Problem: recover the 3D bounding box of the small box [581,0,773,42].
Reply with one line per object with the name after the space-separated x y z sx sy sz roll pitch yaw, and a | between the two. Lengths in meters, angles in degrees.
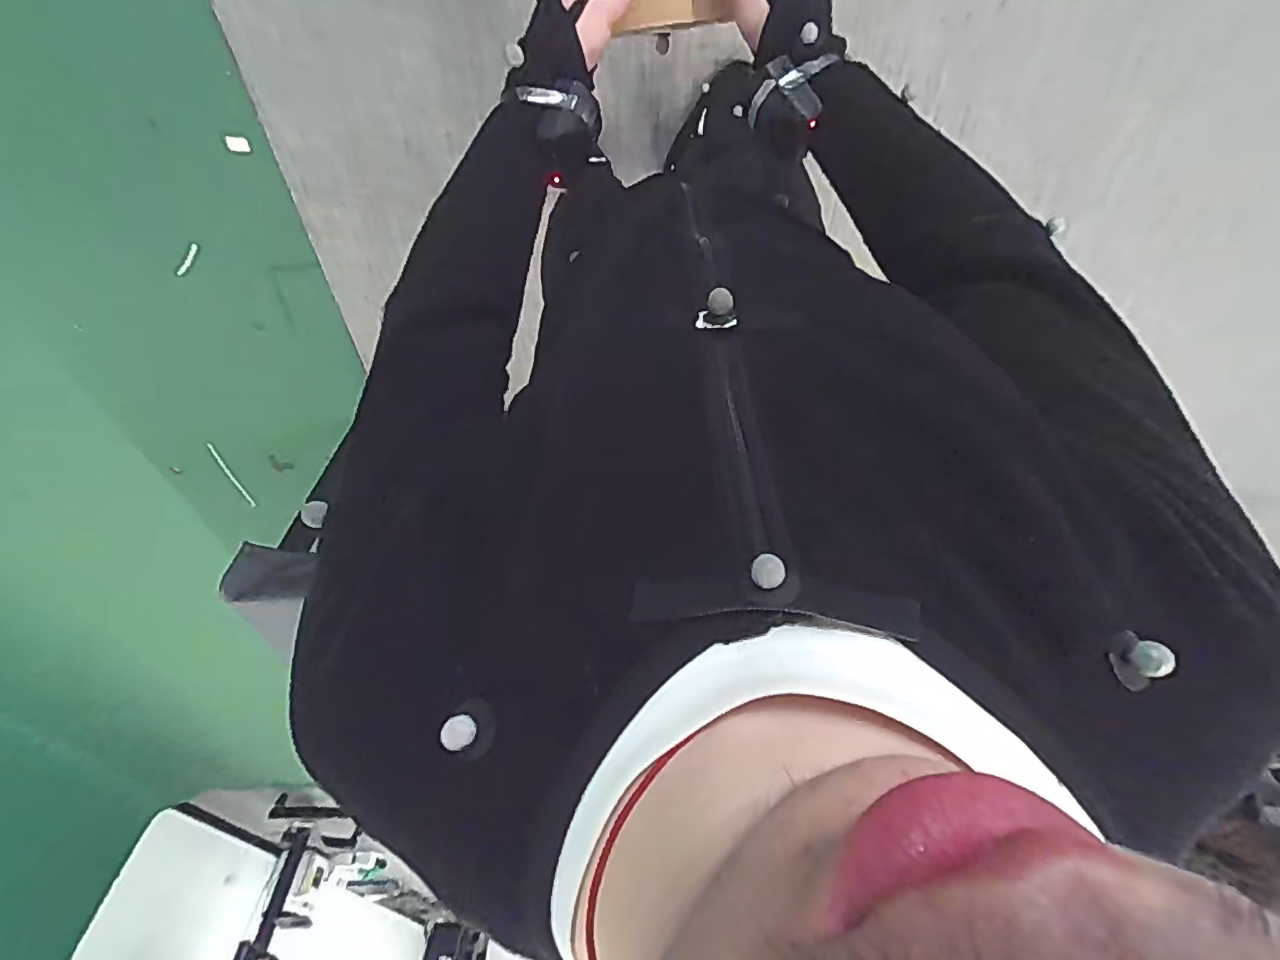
0.028 -0.509 0.479 0.168 0.176 0.179 -3 128 4 | small box
